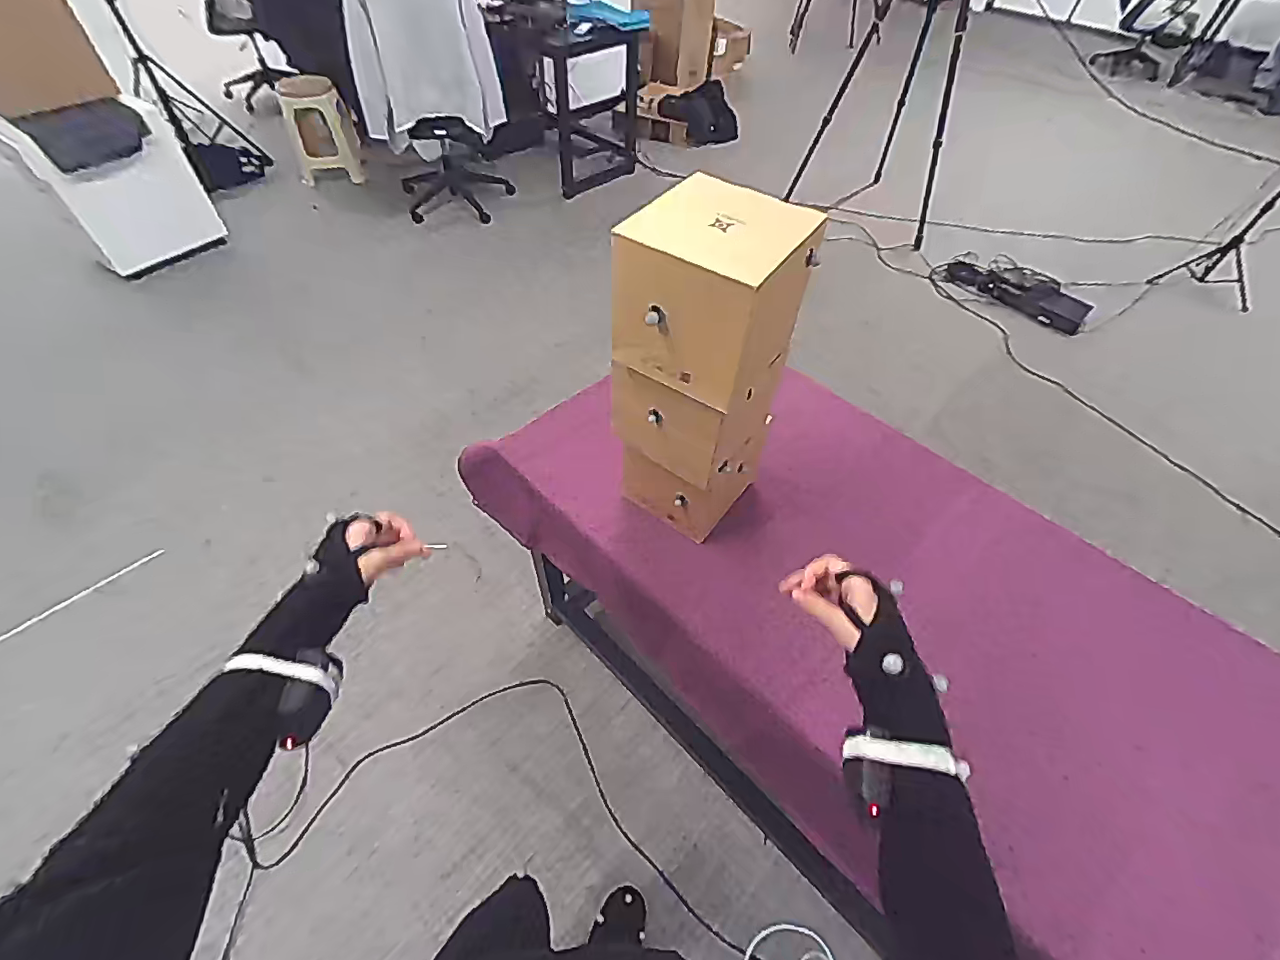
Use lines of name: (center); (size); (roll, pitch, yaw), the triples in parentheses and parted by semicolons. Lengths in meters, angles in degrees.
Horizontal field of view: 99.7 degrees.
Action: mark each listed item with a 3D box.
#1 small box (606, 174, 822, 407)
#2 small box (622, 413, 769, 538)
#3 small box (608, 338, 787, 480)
small box: (0.078, -0.214, 0.620); (0.168, 0.176, 0.179); (29, 56, 18)
small box: (0.087, -0.036, 0.896); (0.168, 0.176, 0.179); (33, 57, 20)
small box: (0.073, -0.125, 0.756); (0.179, 0.176, 0.168); (32, 57, 21)
